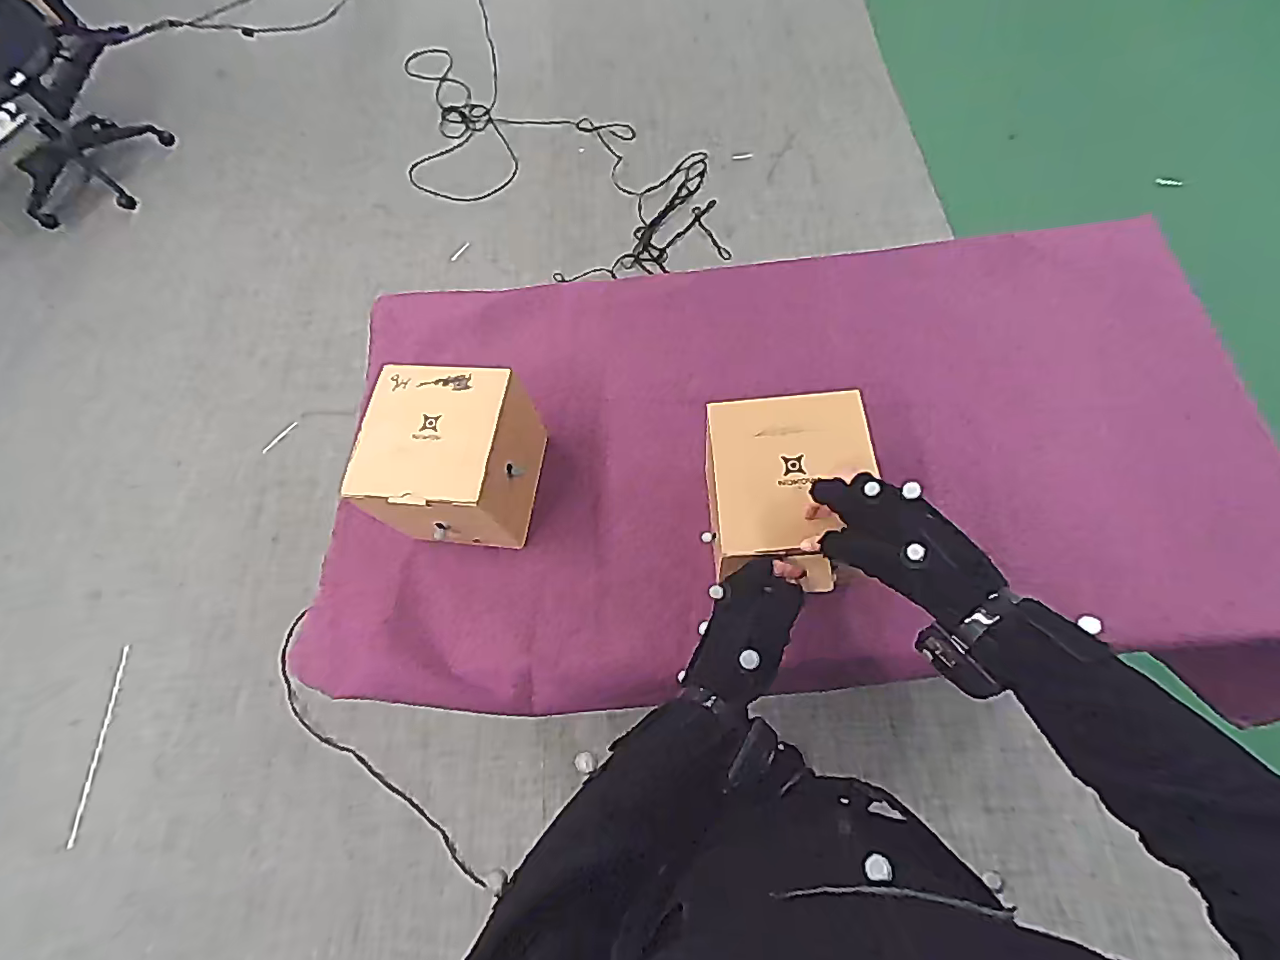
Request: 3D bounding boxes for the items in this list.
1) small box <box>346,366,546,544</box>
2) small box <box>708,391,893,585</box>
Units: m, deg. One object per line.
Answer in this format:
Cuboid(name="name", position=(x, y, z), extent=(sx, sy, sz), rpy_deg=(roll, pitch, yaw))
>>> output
Cuboid(name="small box", position=(-0.230, -0.025, 0.693), extent=(0.168, 0.176, 0.179), rpy_deg=(4, 68, 8))
Cuboid(name="small box", position=(0.168, 0.020, 0.626), extent=(0.168, 0.176, 0.179), rpy_deg=(-4, 66, 5))
